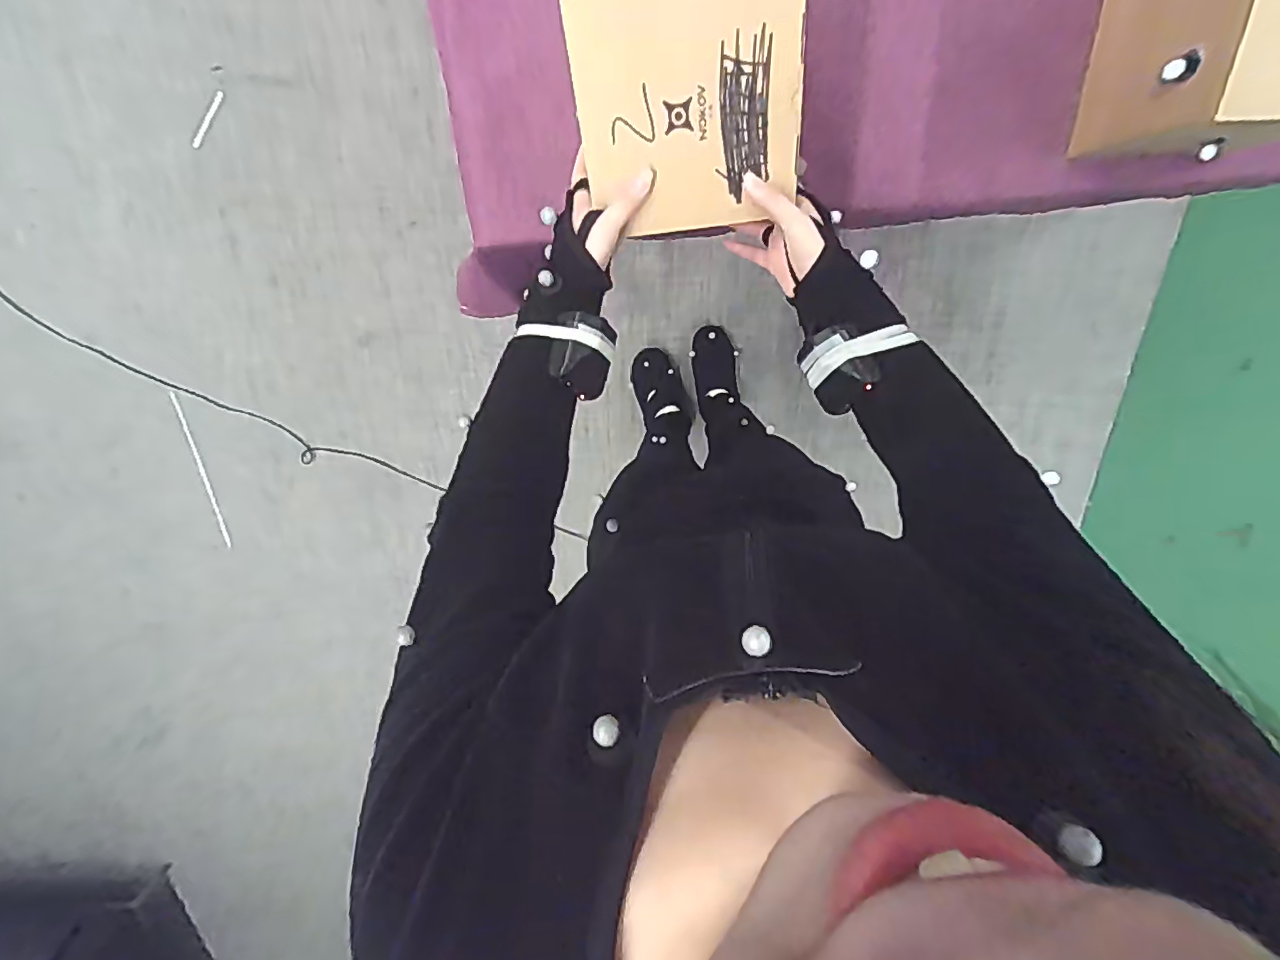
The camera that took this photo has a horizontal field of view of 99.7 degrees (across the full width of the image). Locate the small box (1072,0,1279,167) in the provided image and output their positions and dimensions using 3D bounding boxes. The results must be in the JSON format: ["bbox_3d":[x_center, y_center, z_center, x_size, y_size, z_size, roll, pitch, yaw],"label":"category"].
[{"bbox_3d":[0.531,-0.382,0.473,0.168,0.176,0.179,0,111,2],"label":"small box"}]
